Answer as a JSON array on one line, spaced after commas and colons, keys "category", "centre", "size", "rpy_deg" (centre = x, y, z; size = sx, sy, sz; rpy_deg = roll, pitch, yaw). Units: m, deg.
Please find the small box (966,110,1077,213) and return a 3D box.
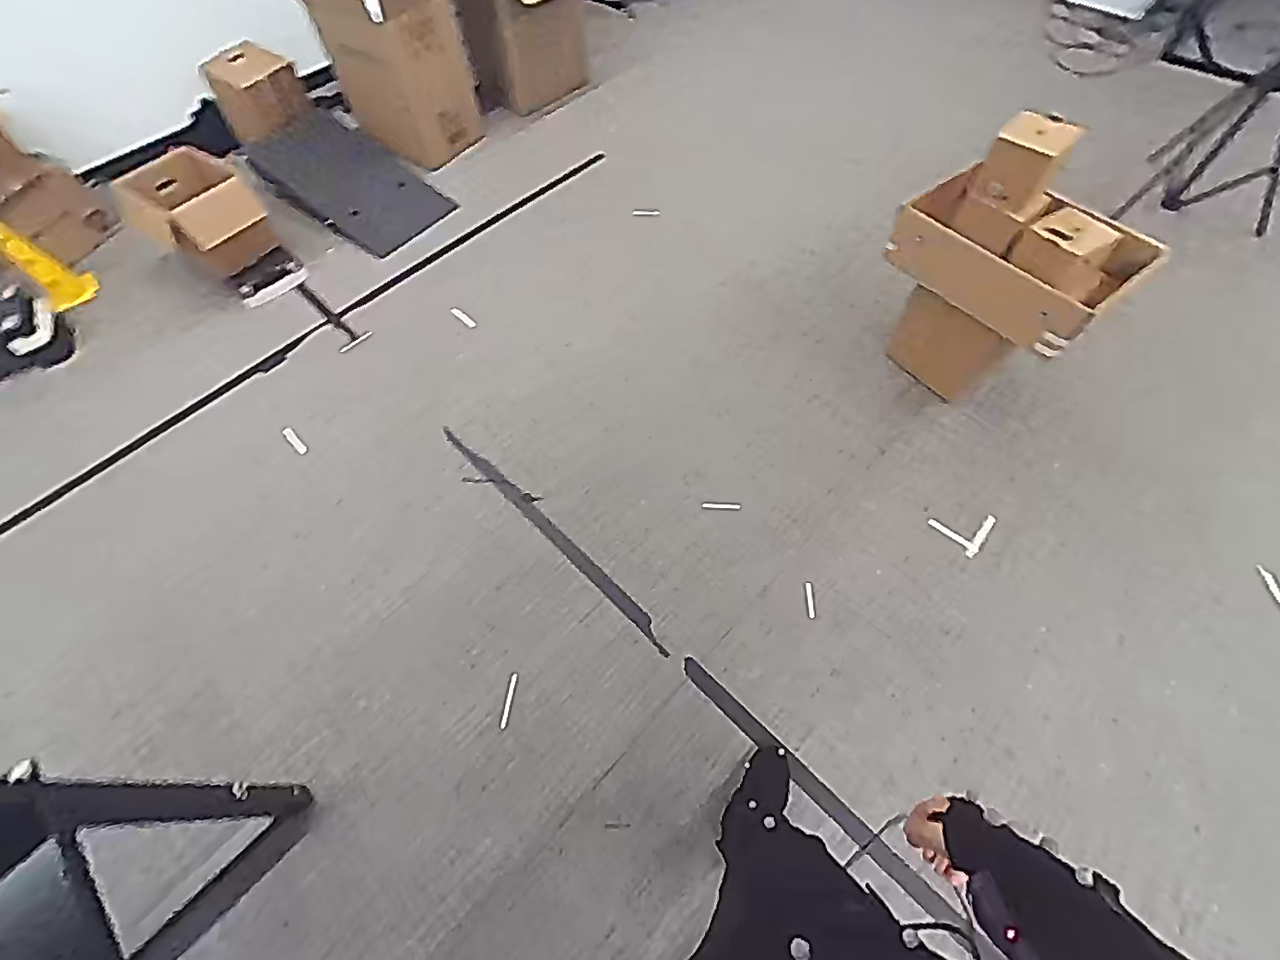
[{"category": "small box", "centre": [1.060, -0.893, 1.519], "size": [0.168, 0.176, 0.179], "rpy_deg": [39, 68, 22]}]
